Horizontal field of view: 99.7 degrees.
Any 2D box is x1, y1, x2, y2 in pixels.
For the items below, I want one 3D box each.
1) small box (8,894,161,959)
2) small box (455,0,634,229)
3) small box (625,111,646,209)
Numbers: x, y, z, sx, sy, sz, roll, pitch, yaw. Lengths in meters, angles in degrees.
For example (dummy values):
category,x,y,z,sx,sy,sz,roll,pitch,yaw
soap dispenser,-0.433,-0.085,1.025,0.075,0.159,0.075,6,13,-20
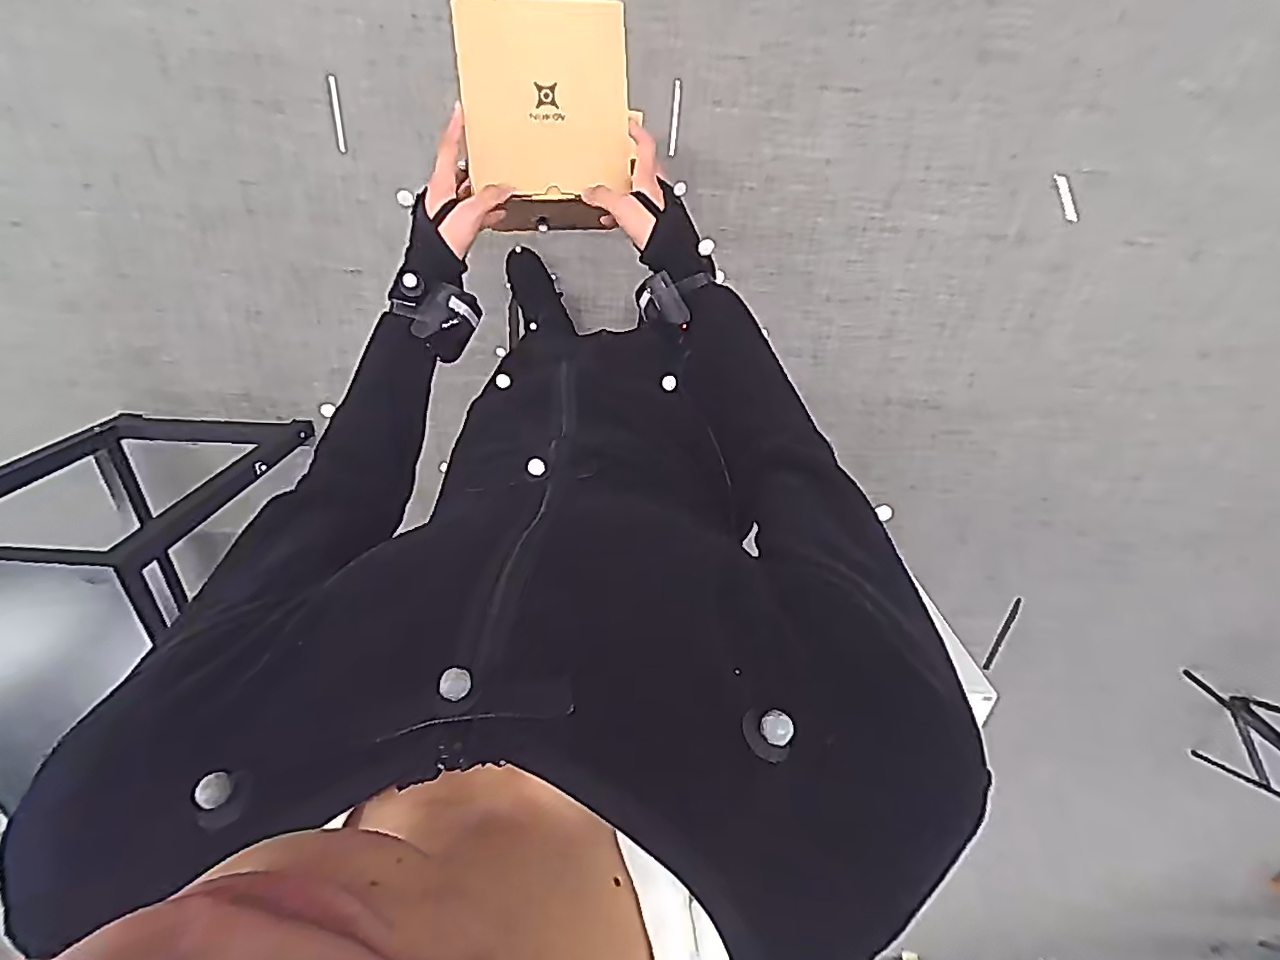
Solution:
category,x,y,z,sx,sy,sz,roll,pitch,yaw
small box,-1.239,1.055,1.203,0.179,0.176,0.168,2,119,-2
small box,-0.102,-0.392,0.603,0.168,0.176,0.179,-5,106,-8
small box,-0.083,-0.654,1.108,0.179,0.176,0.168,3,118,-3
